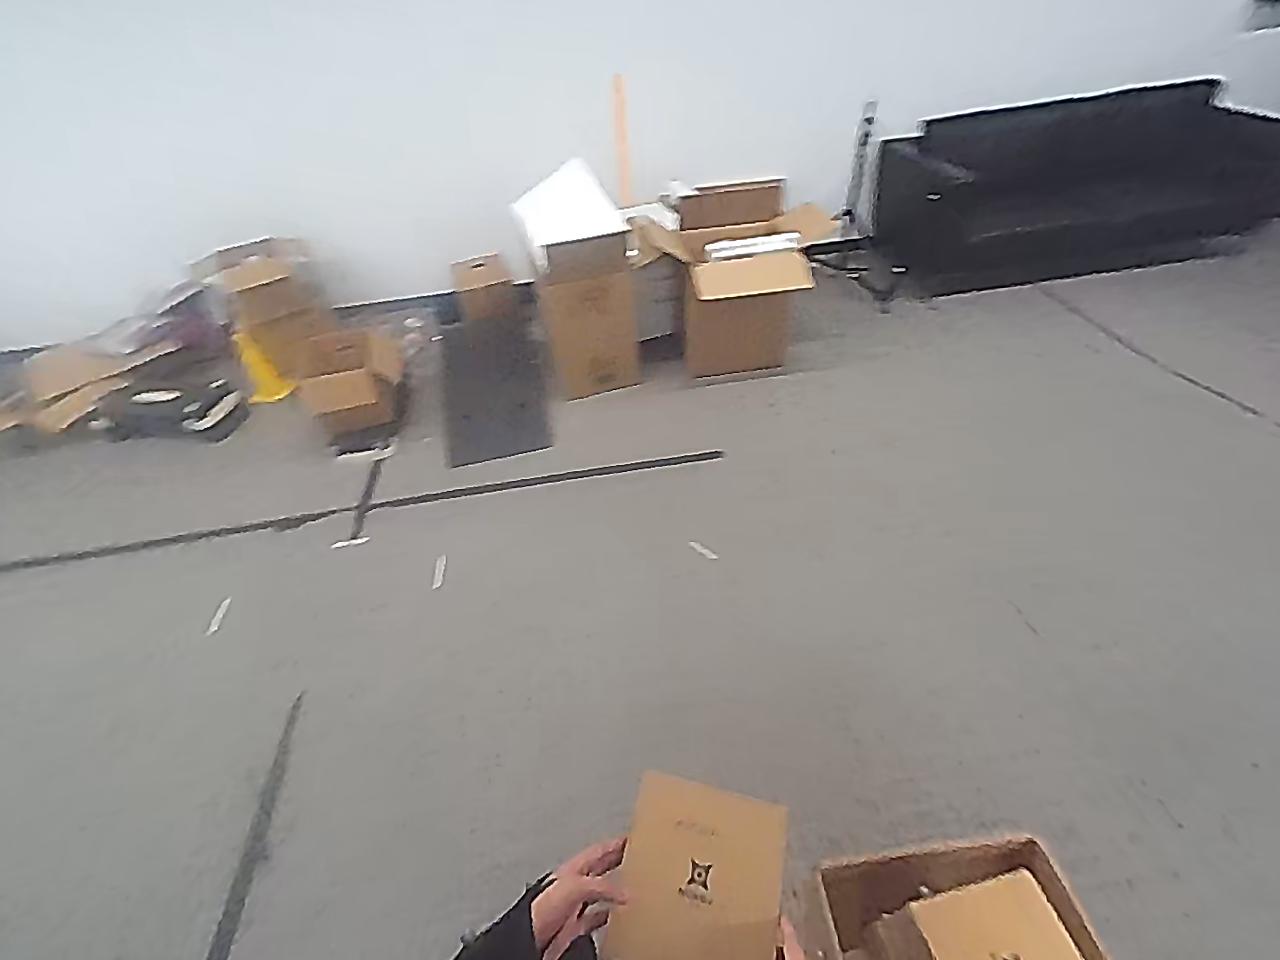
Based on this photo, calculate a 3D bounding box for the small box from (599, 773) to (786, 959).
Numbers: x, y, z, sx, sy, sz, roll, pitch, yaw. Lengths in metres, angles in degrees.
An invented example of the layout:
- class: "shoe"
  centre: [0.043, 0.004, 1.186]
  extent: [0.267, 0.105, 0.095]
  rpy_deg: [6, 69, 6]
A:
- class: "small box"
  centre: [0.066, 0.464, 0.613]
  extent: [0.168, 0.176, 0.179]
  rpy_deg: [8, 52, 13]

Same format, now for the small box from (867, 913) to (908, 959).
- class: "small box"
  centre: [0.479, 0.765, 0.825]
  extent: [0.179, 0.176, 0.168]
  rpy_deg: [-9, 44, -4]

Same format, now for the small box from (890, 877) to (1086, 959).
- class: "small box"
  centre: [0.464, 0.651, 0.709]
  extent: [0.179, 0.176, 0.168]
  rpy_deg: [-12, 45, -5]
